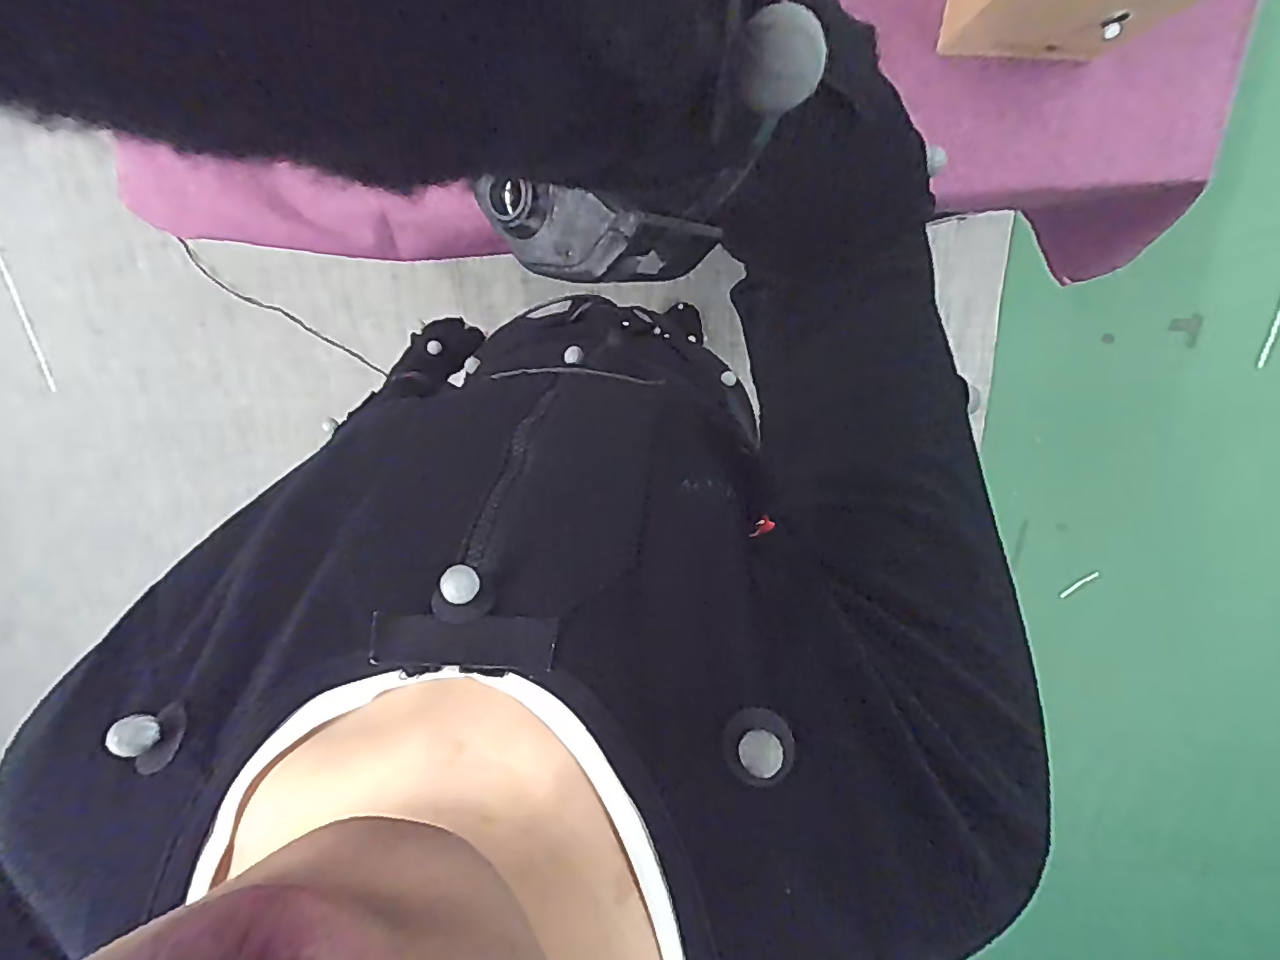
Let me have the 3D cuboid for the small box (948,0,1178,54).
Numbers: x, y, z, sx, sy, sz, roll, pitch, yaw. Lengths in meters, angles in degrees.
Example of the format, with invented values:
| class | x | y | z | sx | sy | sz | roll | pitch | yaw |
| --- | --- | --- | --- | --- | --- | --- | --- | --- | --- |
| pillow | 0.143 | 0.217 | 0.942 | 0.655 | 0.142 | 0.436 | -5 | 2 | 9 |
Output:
| class | x | y | z | sx | sy | sz | roll | pitch | yaw |
| --- | --- | --- | --- | --- | --- | --- | --- | --- | --- |
| small box | 0.394 | -0.498 | 0.459 | 0.168 | 0.176 | 0.179 | 4 | 109 | 1 |
